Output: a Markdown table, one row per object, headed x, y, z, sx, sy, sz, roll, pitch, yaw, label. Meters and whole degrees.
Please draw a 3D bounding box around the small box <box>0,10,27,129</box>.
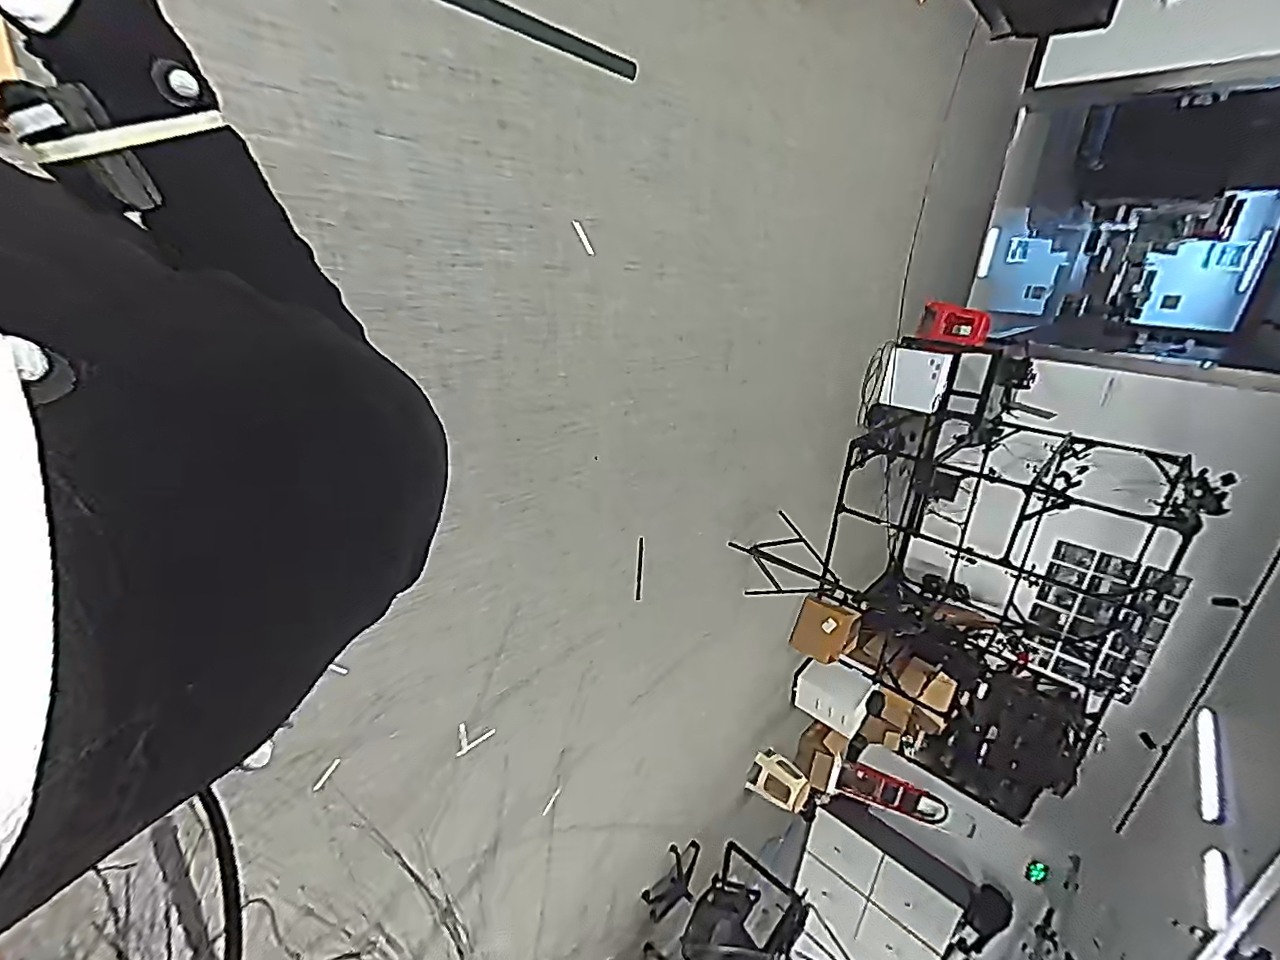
| x | y | z | sx | sy | sz | roll | pitch | yaw | label |
| --- | --- | --- | --- | --- | --- | --- | --- | --- | --- |
| -1.040 | -0.634 | 0.790 | 0.168 | 0.176 | 0.179 | -17 | 121 | -45 | small box |
